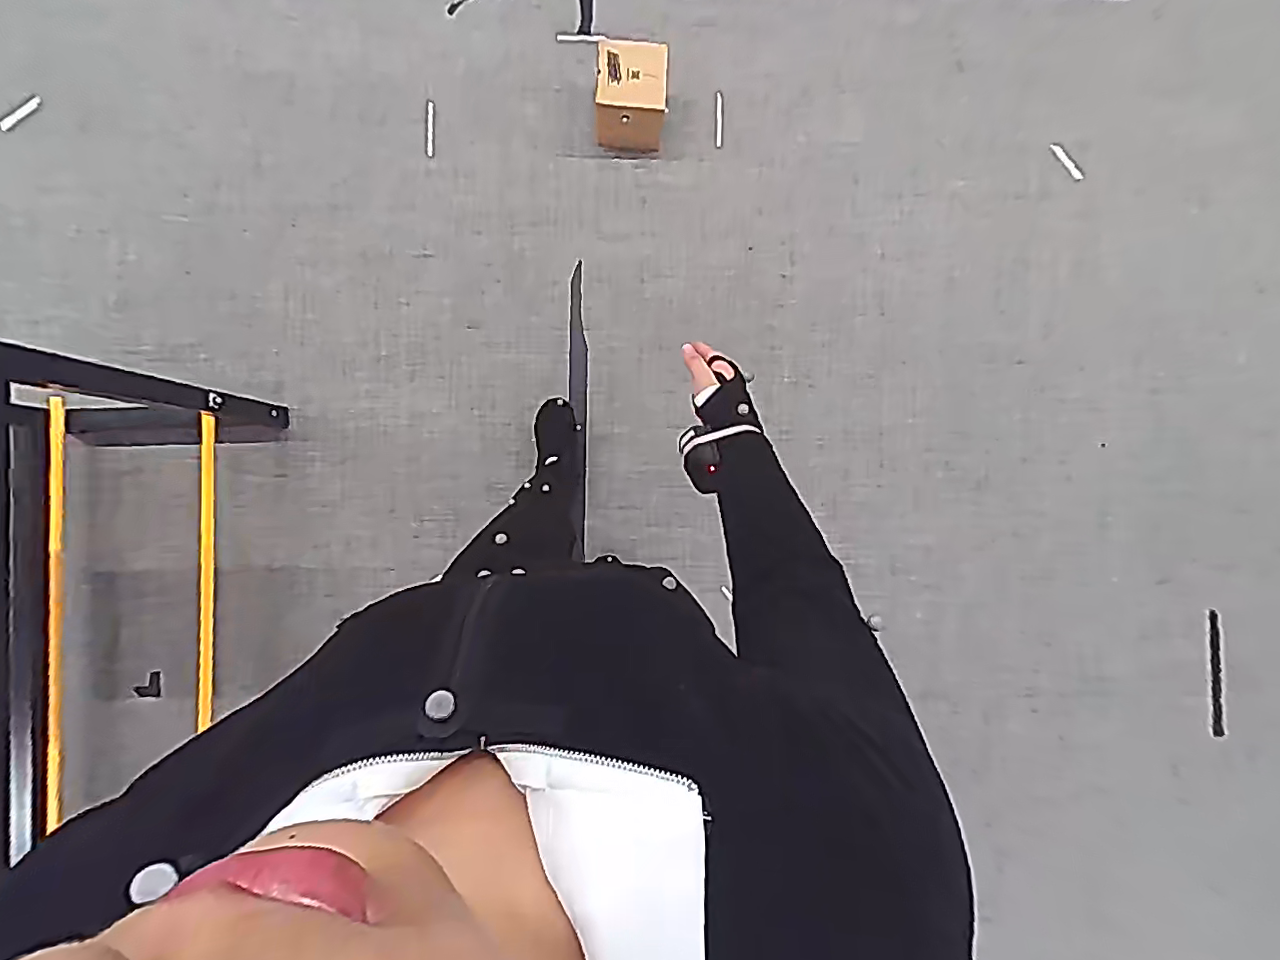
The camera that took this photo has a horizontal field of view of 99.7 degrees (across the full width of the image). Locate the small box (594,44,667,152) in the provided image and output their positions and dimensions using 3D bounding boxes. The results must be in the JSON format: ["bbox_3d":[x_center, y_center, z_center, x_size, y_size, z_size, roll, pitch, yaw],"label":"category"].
[{"bbox_3d":[-0.027,-1.003,1.432,0.179,0.176,0.168,3,89,-3],"label":"small box"}]
